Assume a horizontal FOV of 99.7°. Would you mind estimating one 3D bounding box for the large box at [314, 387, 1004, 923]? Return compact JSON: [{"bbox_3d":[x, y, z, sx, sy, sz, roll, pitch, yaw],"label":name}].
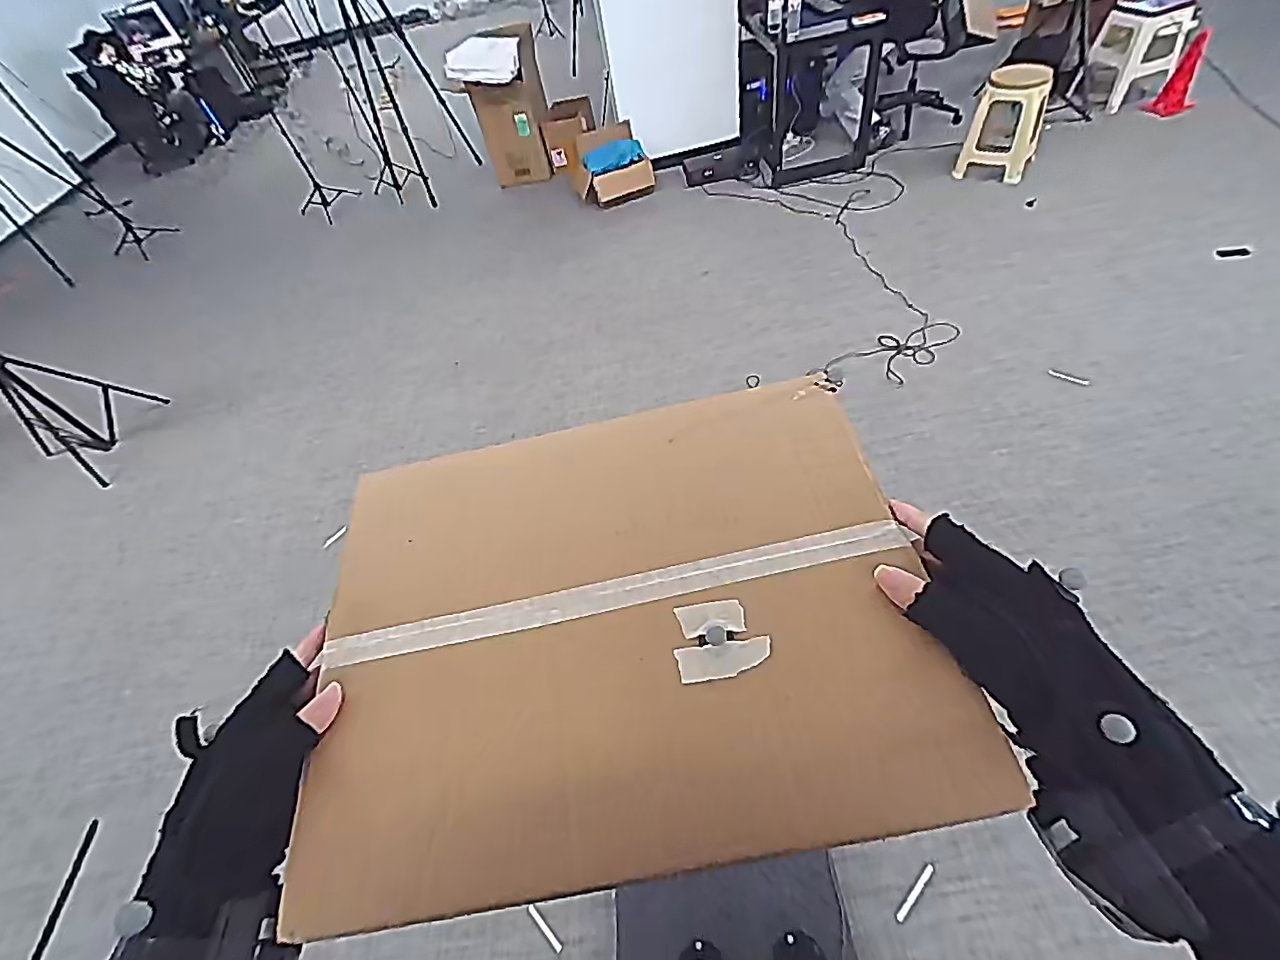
[{"bbox_3d":[0.005,0.166,0.505,0.408,0.320,0.320,-12,56,2],"label":"large box"}]
